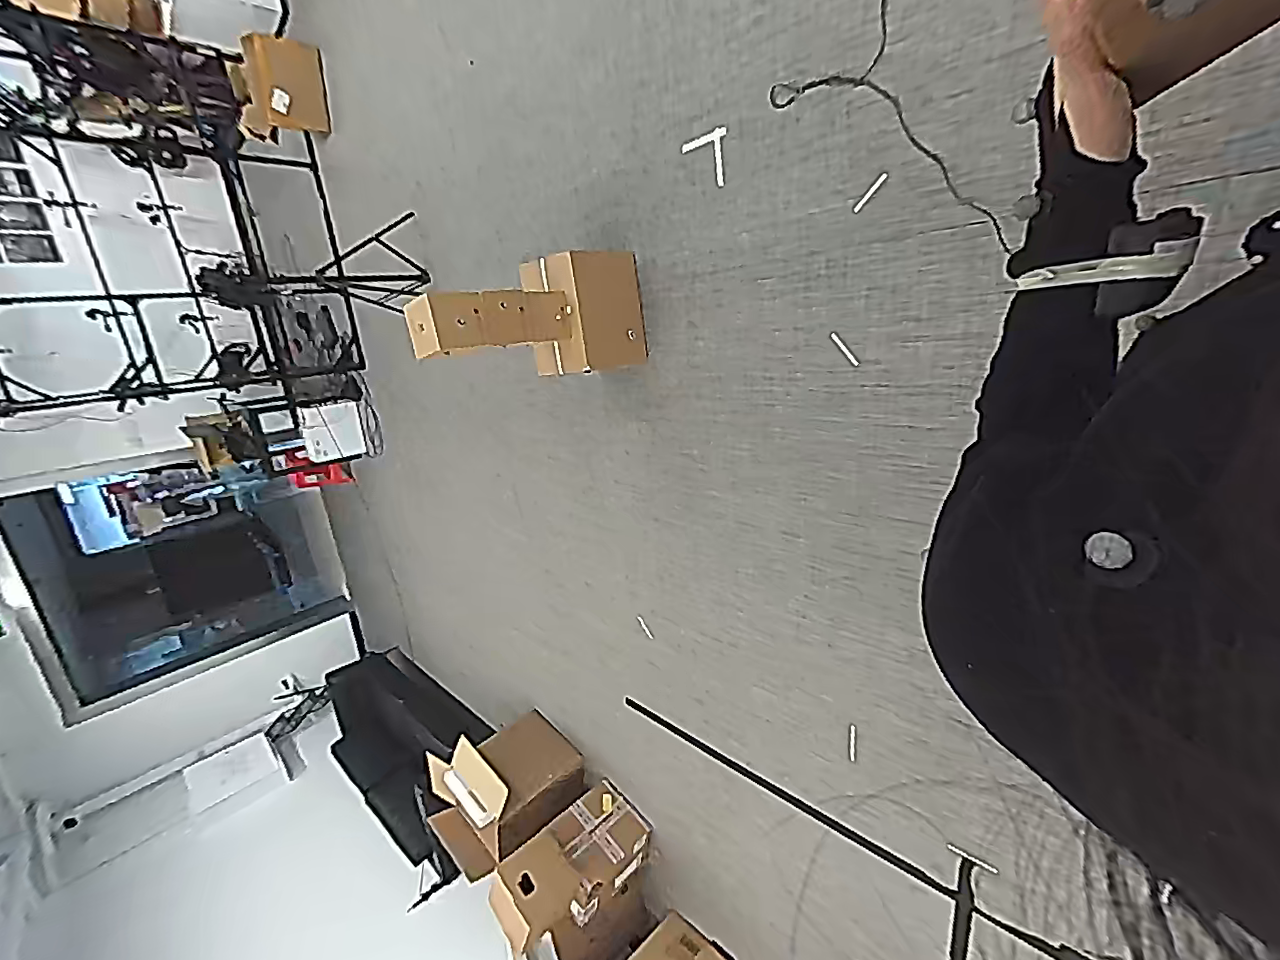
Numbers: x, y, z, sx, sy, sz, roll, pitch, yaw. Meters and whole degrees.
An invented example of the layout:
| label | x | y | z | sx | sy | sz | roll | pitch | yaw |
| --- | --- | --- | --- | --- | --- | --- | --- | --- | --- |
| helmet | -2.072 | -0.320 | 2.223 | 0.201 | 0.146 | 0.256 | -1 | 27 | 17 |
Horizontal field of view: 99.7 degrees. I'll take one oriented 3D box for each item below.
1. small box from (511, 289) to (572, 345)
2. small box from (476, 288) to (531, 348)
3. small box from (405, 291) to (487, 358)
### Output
| label | x | y | z | sx | sy | sz | roll | pitch | yaw |
| --- | --- | --- | --- | --- | --- | --- | --- | --- | --- |
| small box | -0.361 | -0.565 | 1.877 | 0.179 | 0.176 | 0.168 | 6 | 110 | 44 |
| small box | -0.471 | -0.526 | 1.764 | 0.179 | 0.176 | 0.168 | 5 | 108 | 46 |
| small box | -0.588 | -0.478 | 1.658 | 0.179 | 0.176 | 0.168 | -1 | 103 | 46 |
